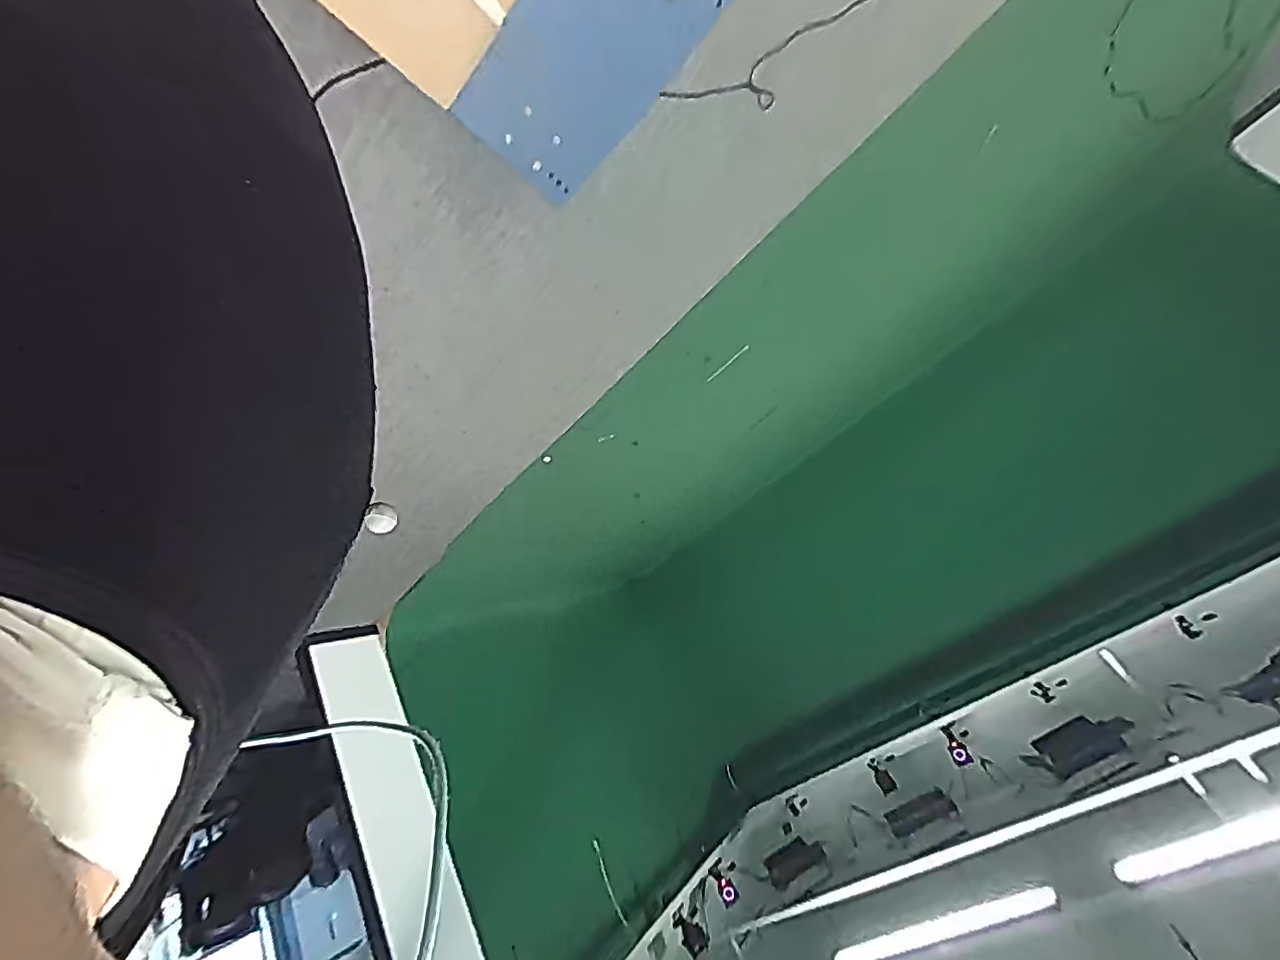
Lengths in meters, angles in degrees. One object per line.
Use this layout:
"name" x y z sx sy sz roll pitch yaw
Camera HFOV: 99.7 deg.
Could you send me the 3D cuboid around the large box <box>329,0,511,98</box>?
"large box" -0.376 -0.857 0.747 0.320 0.320 0.408 -41 139 24
